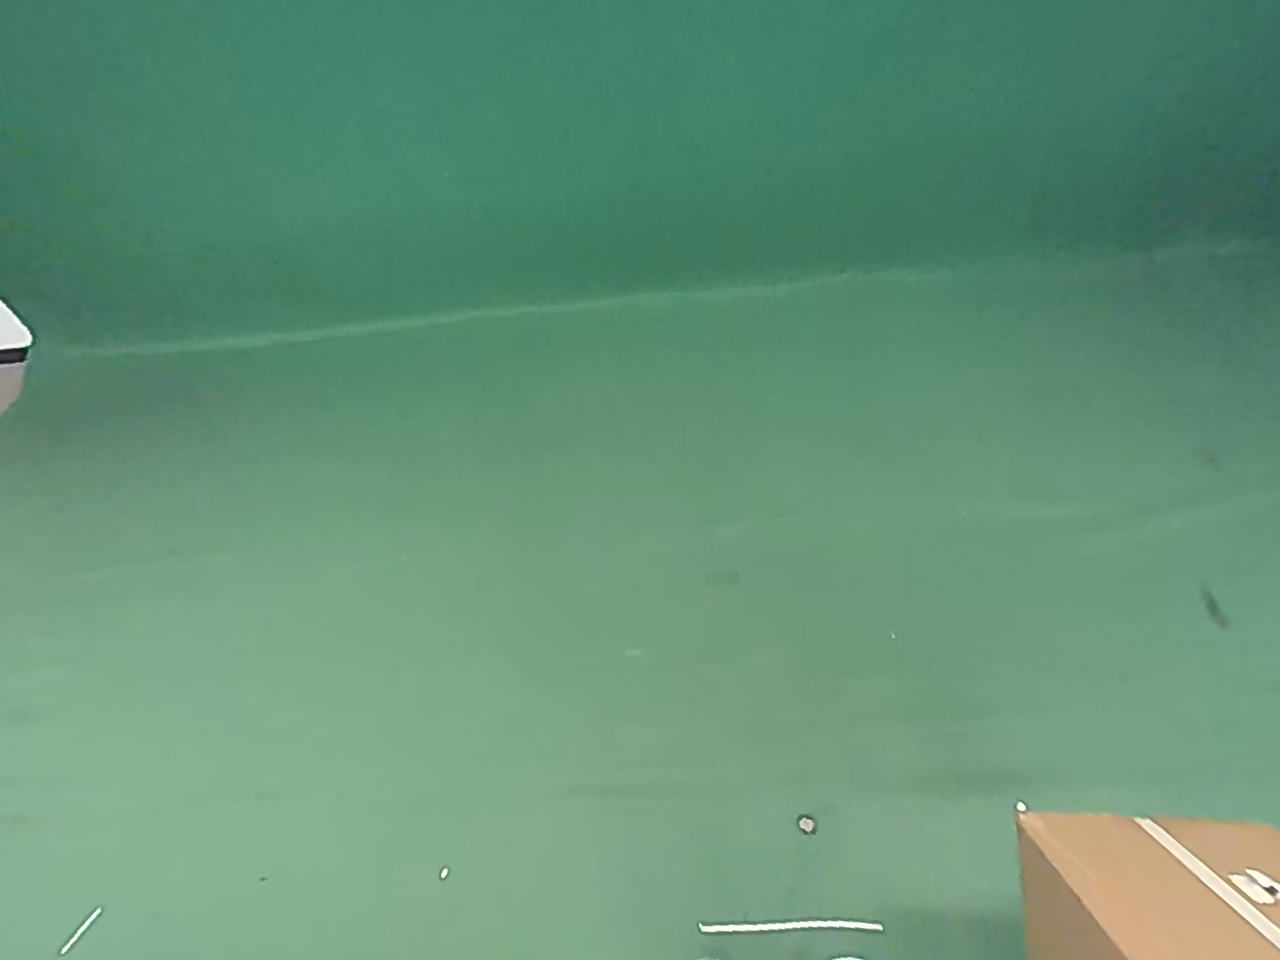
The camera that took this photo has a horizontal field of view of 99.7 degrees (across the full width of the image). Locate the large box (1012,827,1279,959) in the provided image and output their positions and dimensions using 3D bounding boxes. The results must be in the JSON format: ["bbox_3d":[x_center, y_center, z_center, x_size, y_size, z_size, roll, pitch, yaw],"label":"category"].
[{"bbox_3d":[0.669,0.649,0.570,0.320,0.408,0.320,-3,88,12],"label":"large box"}]
